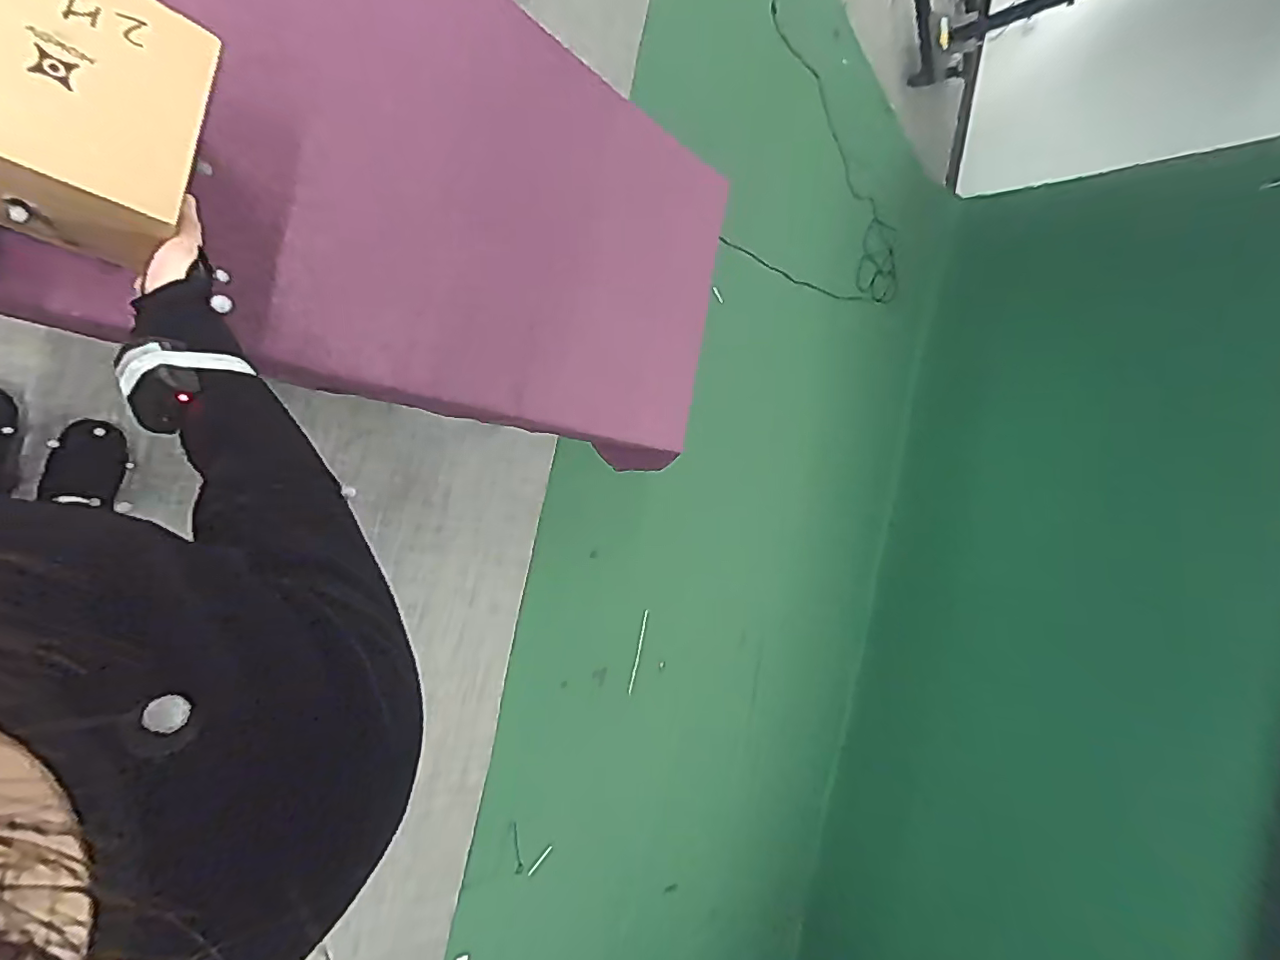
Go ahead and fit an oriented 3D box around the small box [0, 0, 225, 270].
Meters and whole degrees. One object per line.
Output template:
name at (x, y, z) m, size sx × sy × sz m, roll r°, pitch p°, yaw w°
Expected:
small box at (-0.480, -0.303, 0.452) m, size 0.168 × 0.176 × 0.179 m, roll 14°, pitch 81°, yaw -46°
